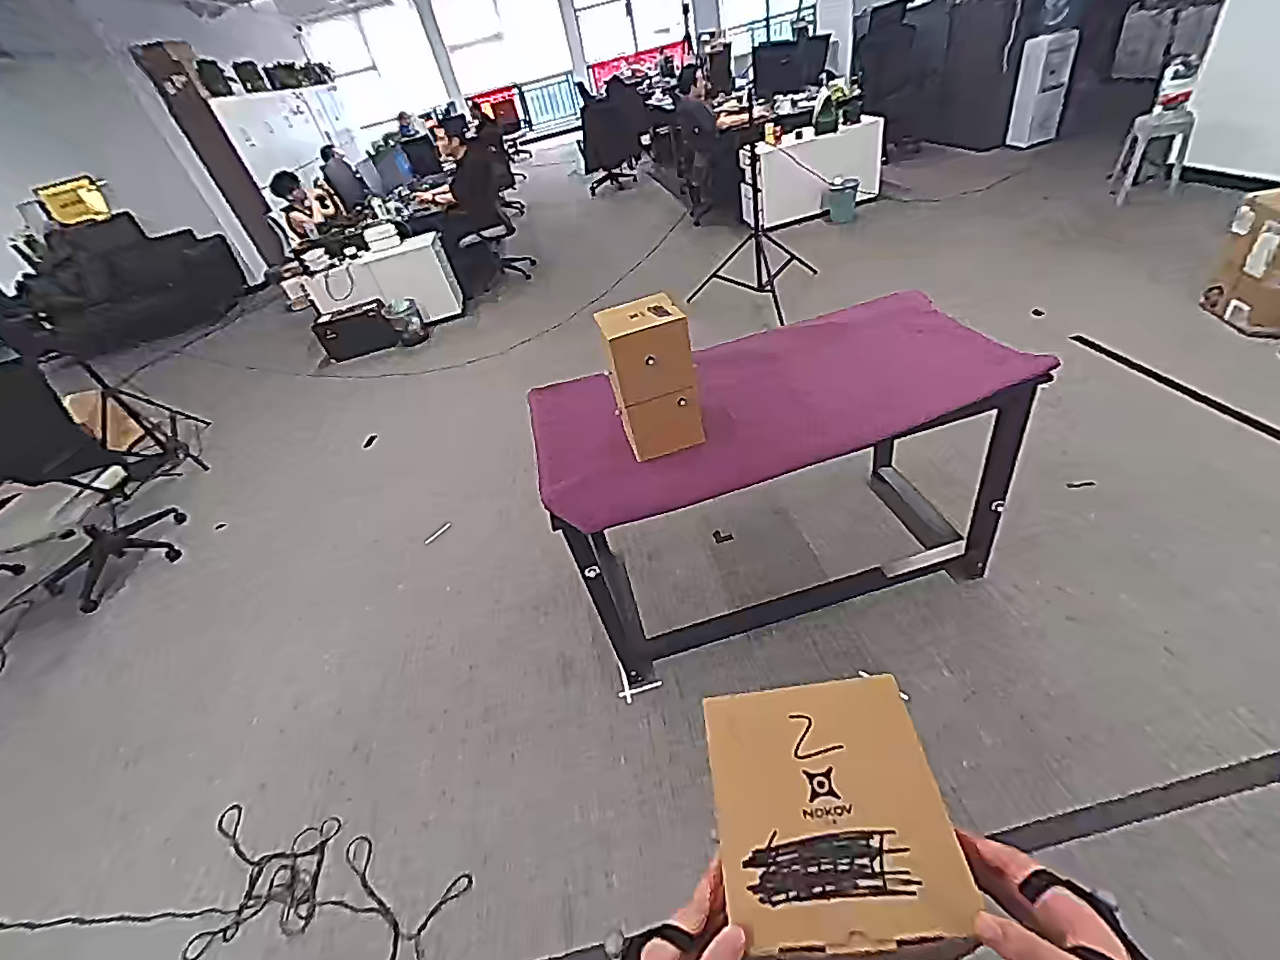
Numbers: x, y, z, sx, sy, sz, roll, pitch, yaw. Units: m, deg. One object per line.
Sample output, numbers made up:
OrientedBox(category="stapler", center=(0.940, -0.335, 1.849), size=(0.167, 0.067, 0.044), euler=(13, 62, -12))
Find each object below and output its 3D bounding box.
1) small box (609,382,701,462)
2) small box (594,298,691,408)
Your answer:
OrientedBox(category="small box", center=(0.040, -0.168, 1.344), size=(0.179, 0.176, 0.168), euler=(-18, 39, -4))
OrientedBox(category="small box", center=(0.010, -0.290, 1.237), size=(0.179, 0.176, 0.168), euler=(-18, 38, -4))
